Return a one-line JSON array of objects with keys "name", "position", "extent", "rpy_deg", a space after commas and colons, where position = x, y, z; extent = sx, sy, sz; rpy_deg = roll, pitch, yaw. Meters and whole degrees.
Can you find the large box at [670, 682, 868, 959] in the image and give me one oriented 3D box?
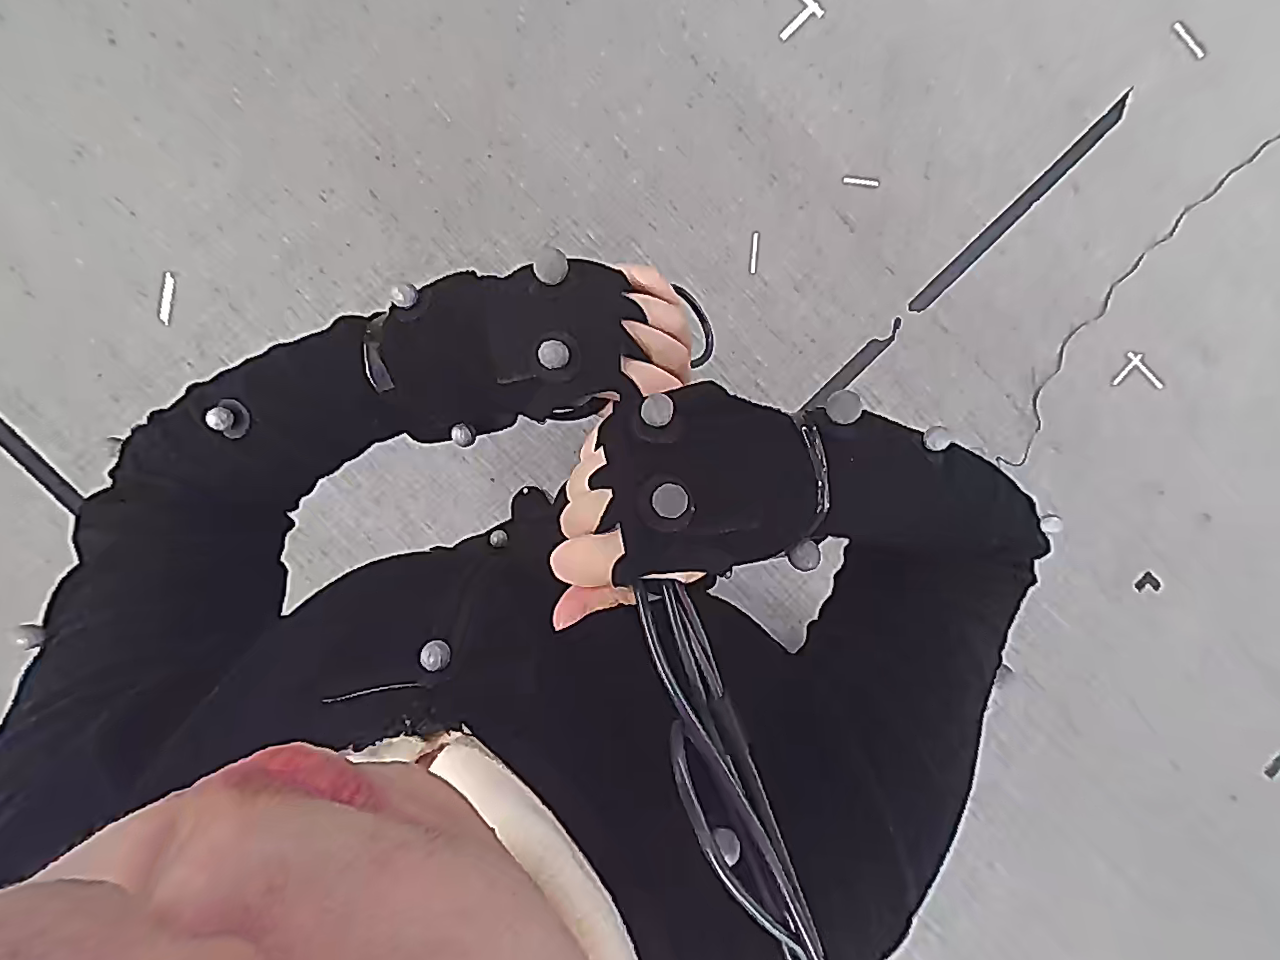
[{"name": "large box", "position": [0.263, 0.725, 1.206], "extent": [0.320, 0.320, 0.408], "rpy_deg": [-7, 91, -5]}]
